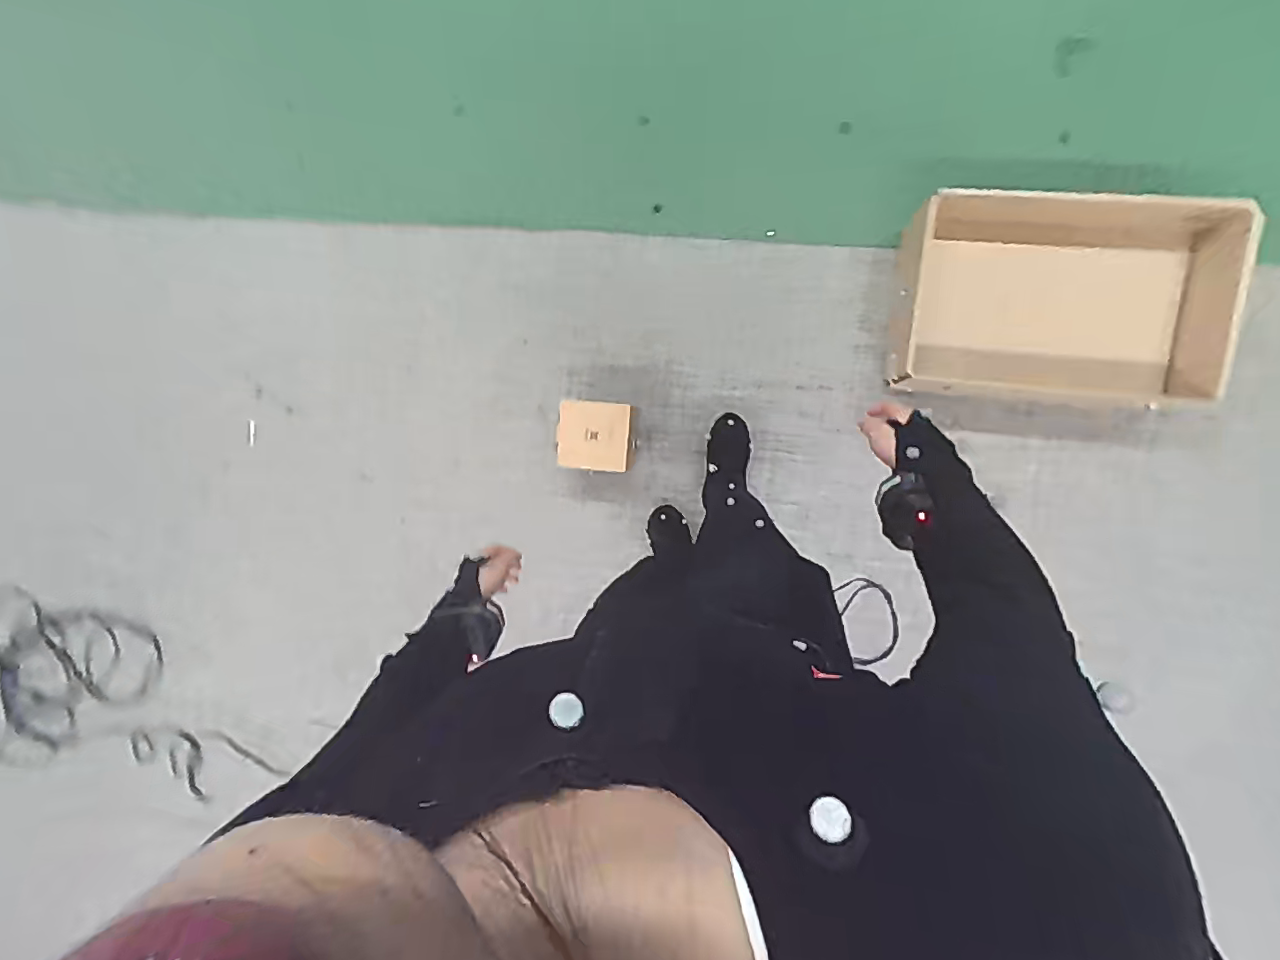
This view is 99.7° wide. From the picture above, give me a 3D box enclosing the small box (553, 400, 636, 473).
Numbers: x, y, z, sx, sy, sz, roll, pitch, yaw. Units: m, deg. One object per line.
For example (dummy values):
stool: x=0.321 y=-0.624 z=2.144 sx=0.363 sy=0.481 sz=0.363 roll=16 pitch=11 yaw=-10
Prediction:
small box: x=-0.110 y=-0.111 z=1.368 sx=0.179 sy=0.176 sz=0.168 roll=4 pitch=97 yaw=5
